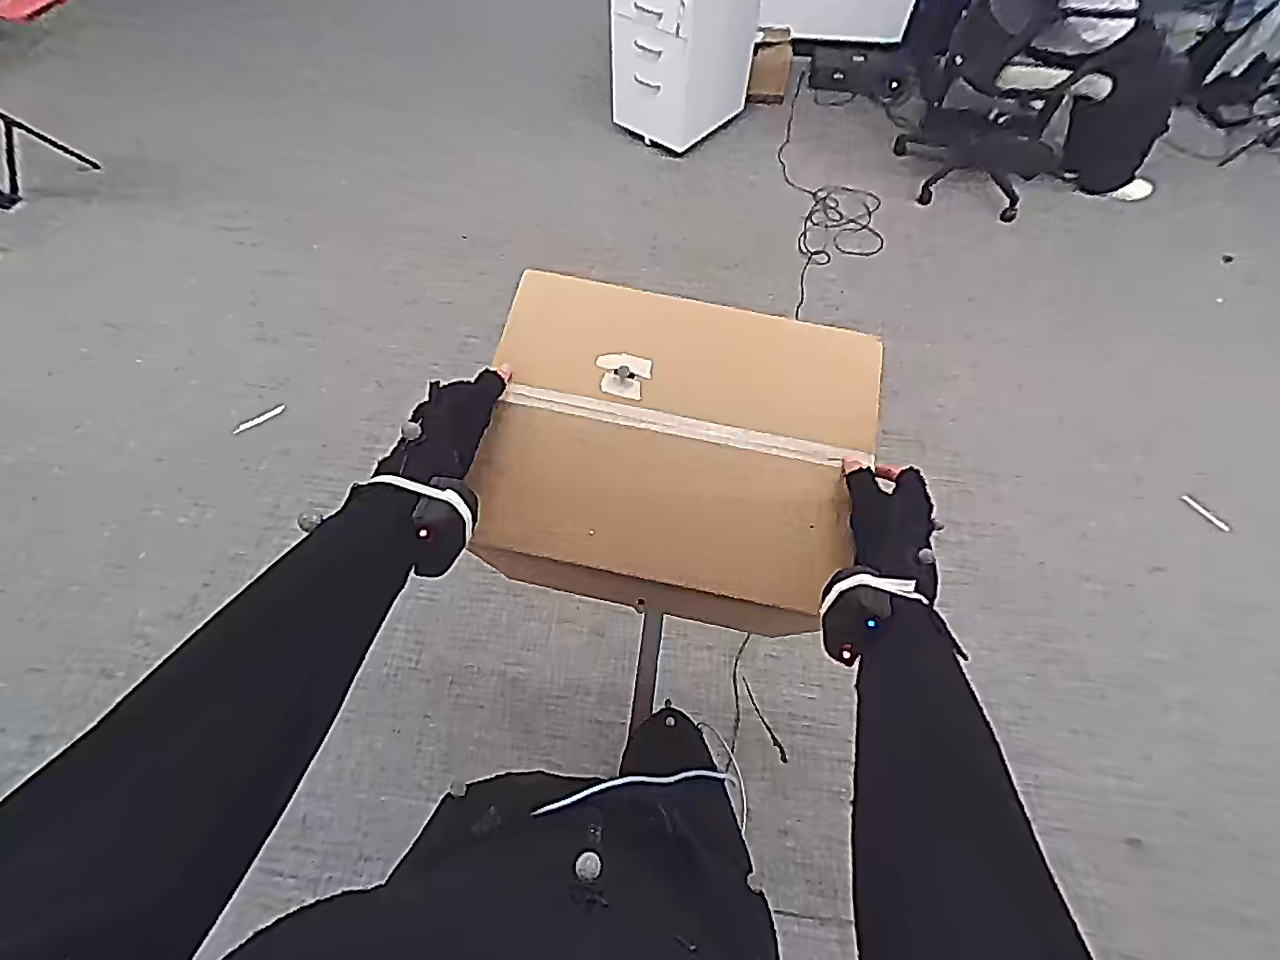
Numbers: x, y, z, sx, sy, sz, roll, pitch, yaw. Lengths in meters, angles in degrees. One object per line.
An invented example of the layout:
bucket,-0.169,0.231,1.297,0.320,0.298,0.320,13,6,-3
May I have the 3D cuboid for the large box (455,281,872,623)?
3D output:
large box,0.038,-0.008,0.712,0.408,0.320,0.320,12,71,3
